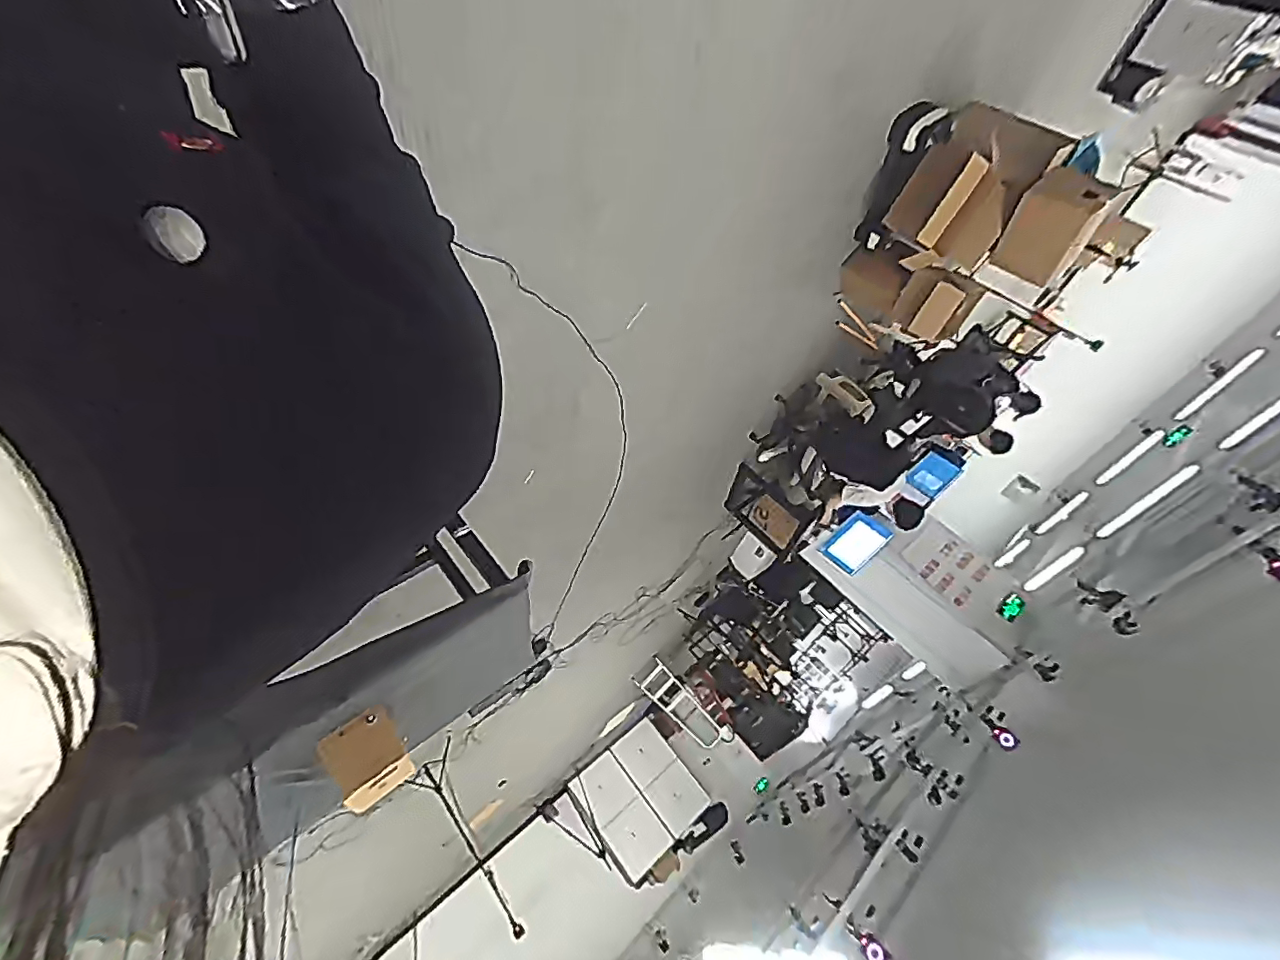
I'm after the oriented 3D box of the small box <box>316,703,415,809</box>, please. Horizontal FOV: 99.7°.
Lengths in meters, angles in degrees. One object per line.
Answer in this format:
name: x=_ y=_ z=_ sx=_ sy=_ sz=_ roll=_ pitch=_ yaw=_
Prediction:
small box: x=-0.724 y=0.722 z=1.428 sx=0.168 sy=0.176 sz=0.179 roll=-30 pitch=153 yaw=-31
